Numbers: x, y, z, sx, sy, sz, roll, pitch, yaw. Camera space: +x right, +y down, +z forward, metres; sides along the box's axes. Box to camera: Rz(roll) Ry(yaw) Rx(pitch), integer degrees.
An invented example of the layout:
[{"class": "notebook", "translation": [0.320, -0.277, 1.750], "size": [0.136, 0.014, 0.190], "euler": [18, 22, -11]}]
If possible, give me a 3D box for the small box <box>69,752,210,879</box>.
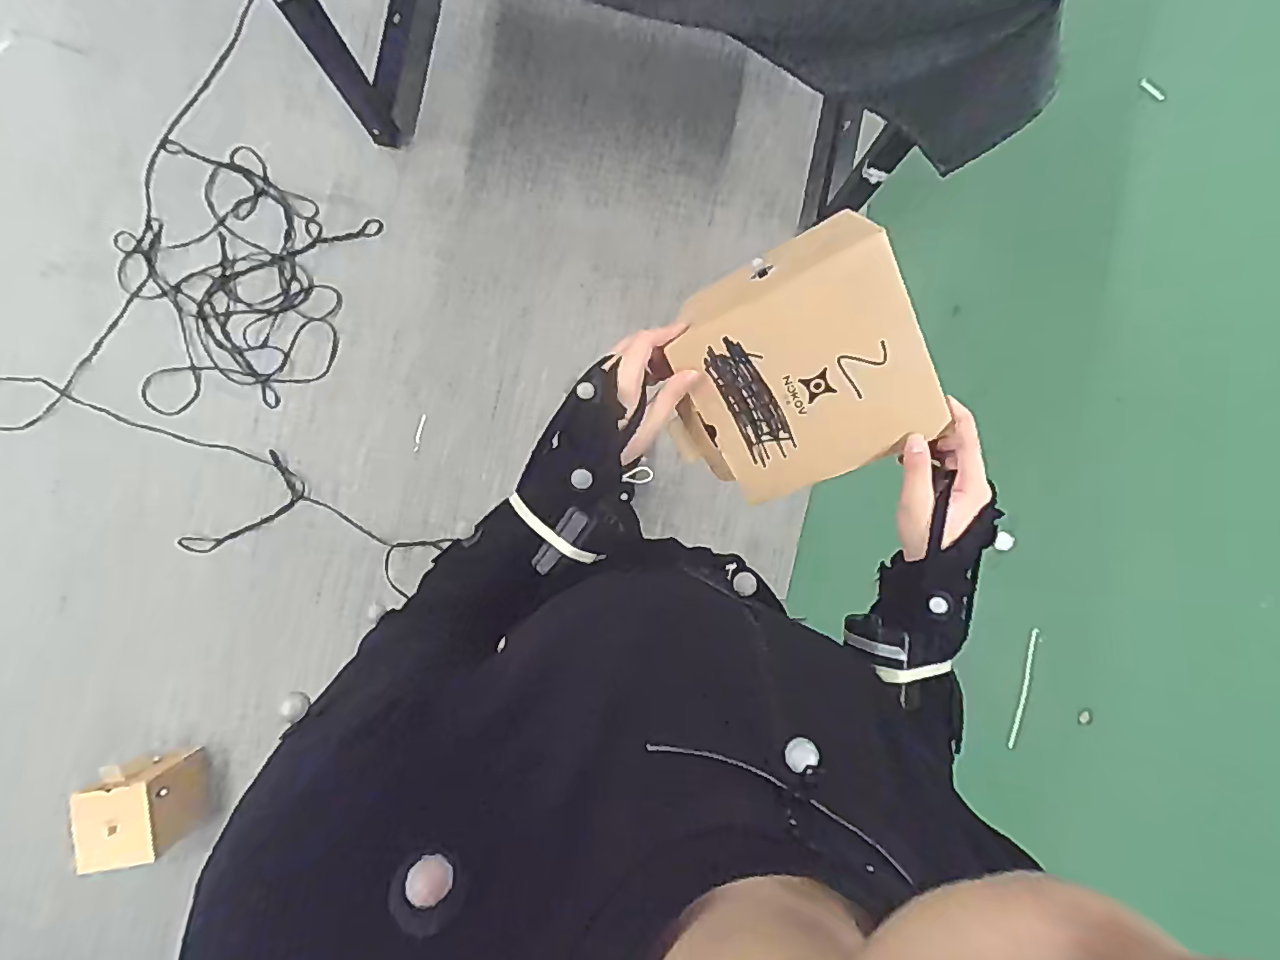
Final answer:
[{"class": "small box", "translation": [-1.128, 0.757, 1.233], "size": [0.168, 0.176, 0.179], "euler": [-8, 88, -2]}]
